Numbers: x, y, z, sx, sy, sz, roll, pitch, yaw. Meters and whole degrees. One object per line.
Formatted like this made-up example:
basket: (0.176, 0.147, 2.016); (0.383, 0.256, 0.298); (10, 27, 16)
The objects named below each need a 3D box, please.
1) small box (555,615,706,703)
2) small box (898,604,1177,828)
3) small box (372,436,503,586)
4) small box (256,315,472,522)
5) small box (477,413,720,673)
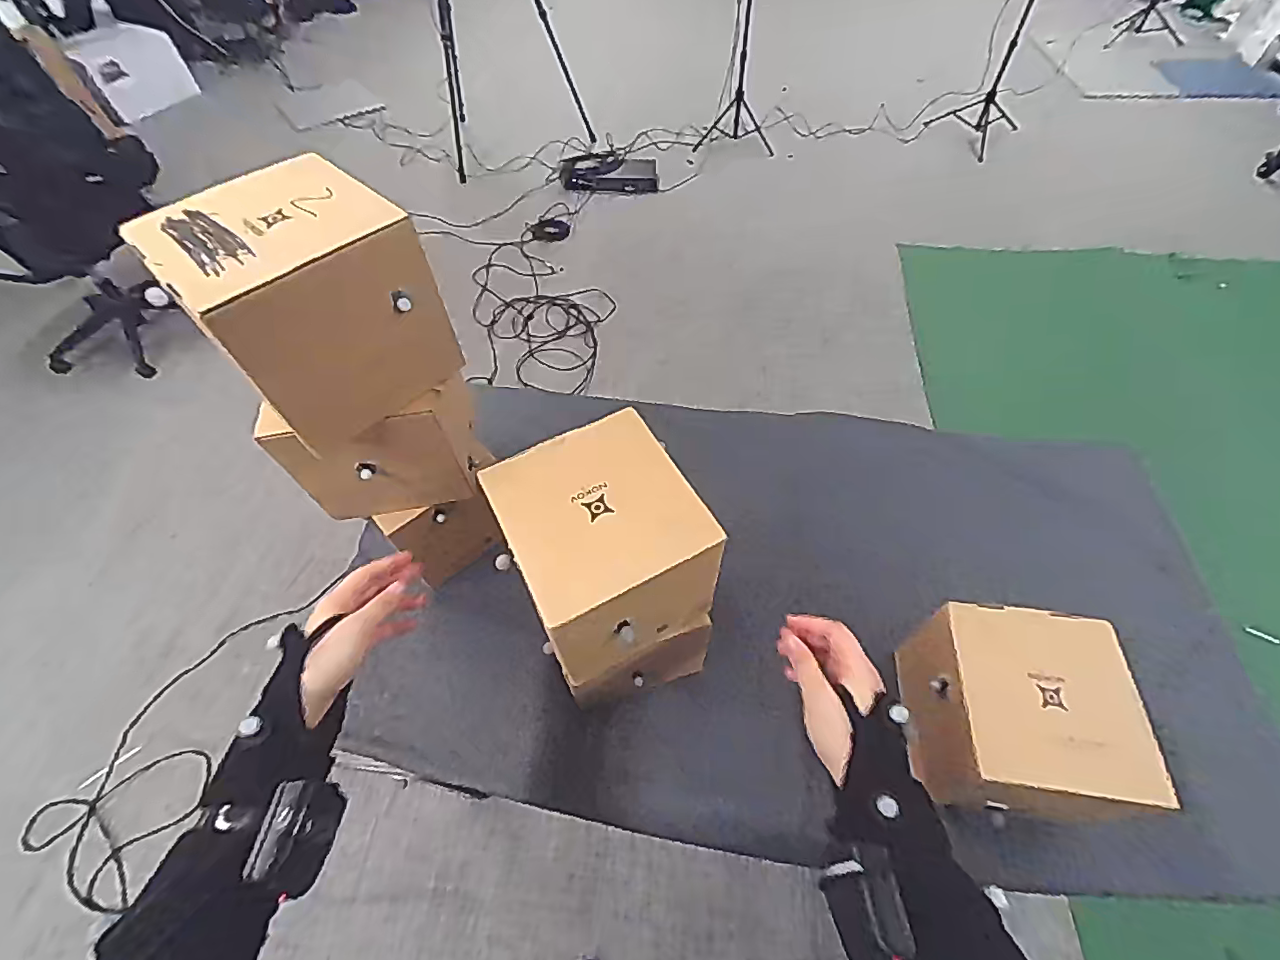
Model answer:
small box: (-0.026, 0.161, 0.677); (0.168, 0.176, 0.179); (-15, 55, -9)
small box: (0.399, 0.259, 0.589); (0.168, 0.176, 0.179); (5, 54, 7)
small box: (-0.302, 0.022, 0.788); (0.168, 0.176, 0.179); (-38, 62, -22)
small box: (-0.308, -0.069, 0.651); (0.179, 0.176, 0.168); (-10, 56, -4)
small box: (-0.038, 0.072, 0.542); (0.168, 0.176, 0.179); (-25, 57, -15)
